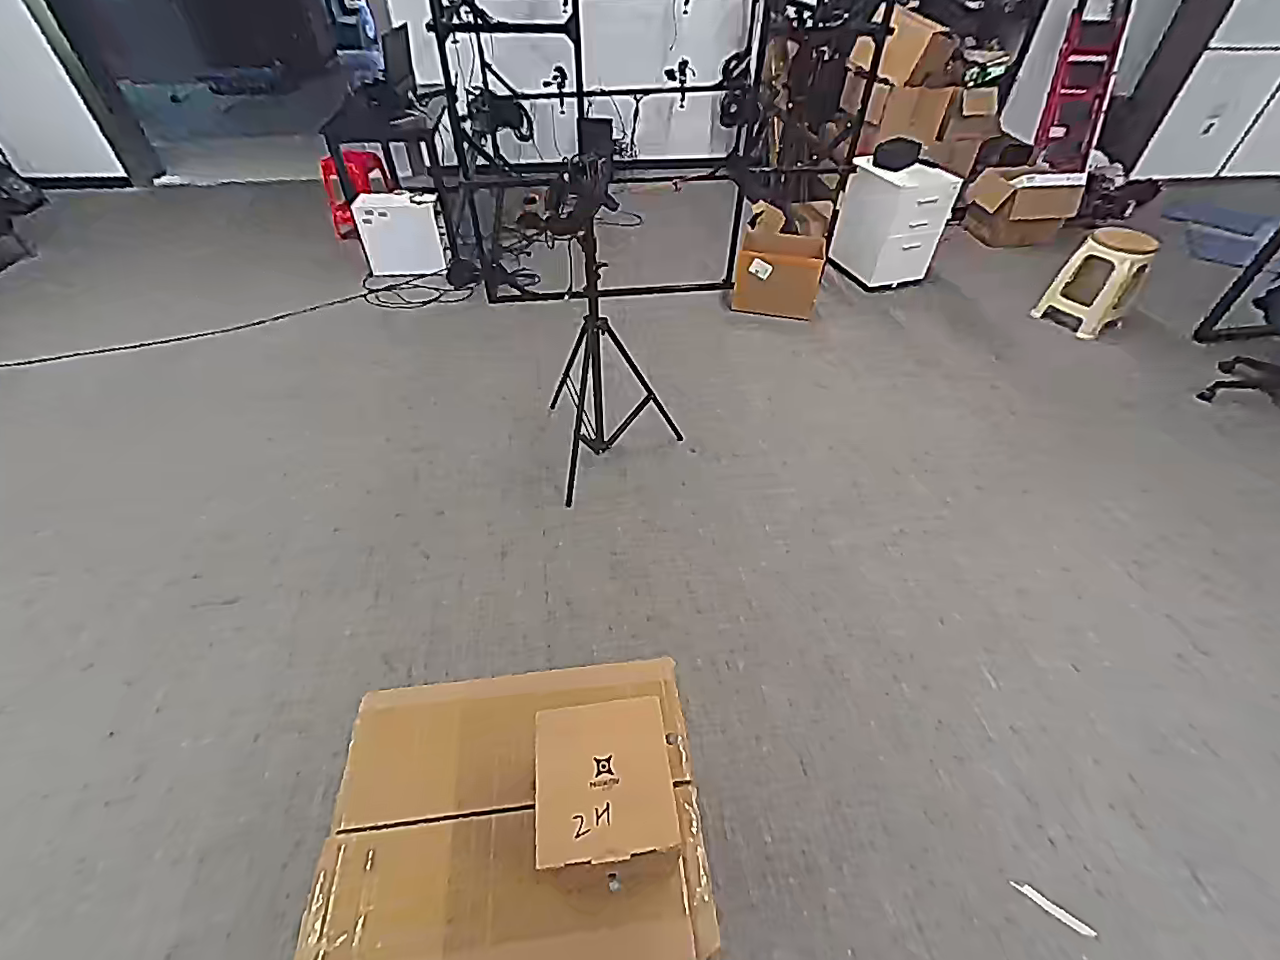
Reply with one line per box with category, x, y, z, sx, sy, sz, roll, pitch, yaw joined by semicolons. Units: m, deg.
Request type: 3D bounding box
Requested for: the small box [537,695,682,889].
small box;-0.044;0.413;0.716;0.168;0.176;0.179;-6;47;-5
